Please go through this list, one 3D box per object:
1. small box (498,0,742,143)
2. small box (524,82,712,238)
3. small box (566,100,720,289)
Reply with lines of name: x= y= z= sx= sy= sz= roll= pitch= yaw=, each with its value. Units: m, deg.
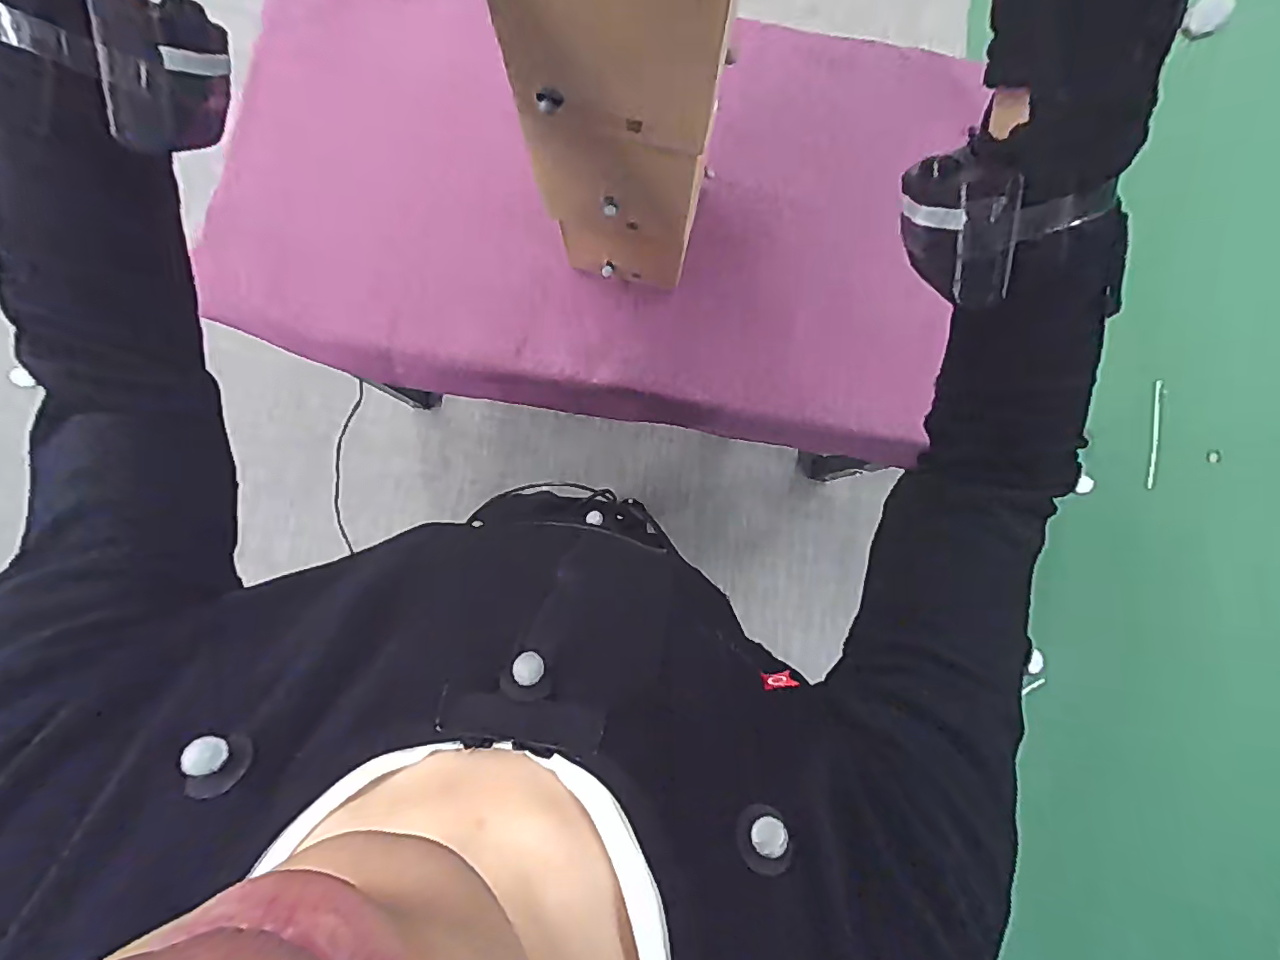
small box: x=-0.003 y=-0.392 z=0.395 sx=0.168 sy=0.176 sz=0.179 roll=13 pitch=84 yaw=0
small box: x=-0.007 y=-0.387 z=0.560 sx=0.168 sy=0.176 sz=0.179 roll=12 pitch=86 yaw=1
small box: x=-0.002 y=-0.388 z=0.724 sx=0.168 sy=0.176 sz=0.179 roll=14 pitch=86 yaw=1
